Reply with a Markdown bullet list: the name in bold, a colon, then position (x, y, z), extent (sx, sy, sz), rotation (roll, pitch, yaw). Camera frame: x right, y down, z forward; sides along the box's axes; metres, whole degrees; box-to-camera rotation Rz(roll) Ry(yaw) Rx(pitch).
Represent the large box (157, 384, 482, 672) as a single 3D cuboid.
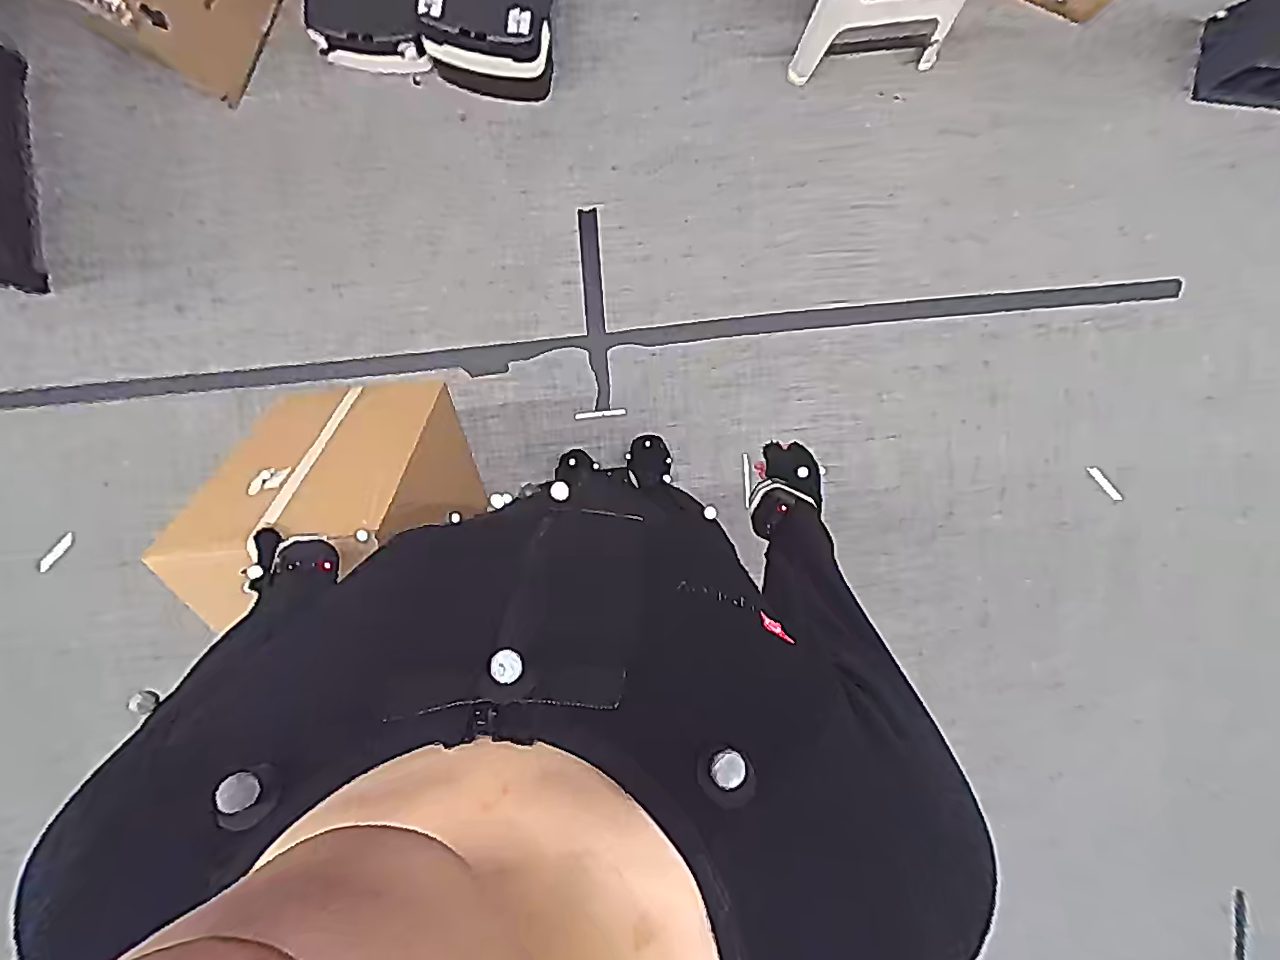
- **large box**: position (-0.496, 0.073, 0.963), extent (0.320, 0.408, 0.320), rotation (-6, 131, 1)
